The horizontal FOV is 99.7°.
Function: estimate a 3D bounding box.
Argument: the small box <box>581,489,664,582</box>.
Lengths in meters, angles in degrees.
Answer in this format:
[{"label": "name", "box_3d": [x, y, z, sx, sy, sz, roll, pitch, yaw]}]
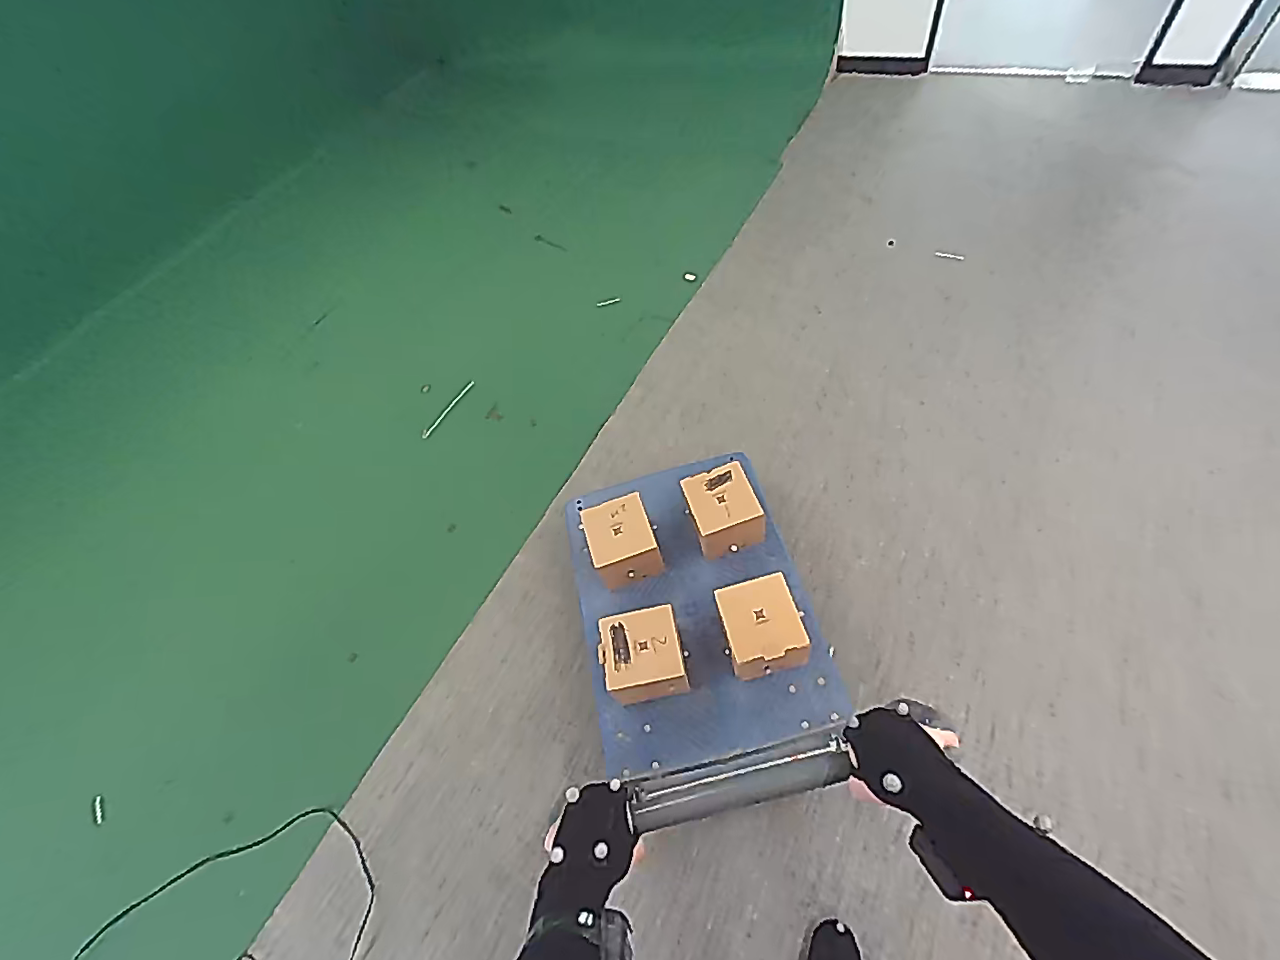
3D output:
[{"label": "small box", "box_3d": [-0.043, 0.156, 1.441, 0.168, 0.176, 0.179, -18, 57, -2]}]

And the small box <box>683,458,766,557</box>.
[{"label": "small box", "box_3d": [0.222, 0.077, 1.440, 0.168, 0.176, 0.179, -20, 58, -1]}]

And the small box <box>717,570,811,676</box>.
[{"label": "small box", "box_3d": [0.282, 0.338, 1.269, 0.168, 0.176, 0.179, -16, 58, 1]}]
